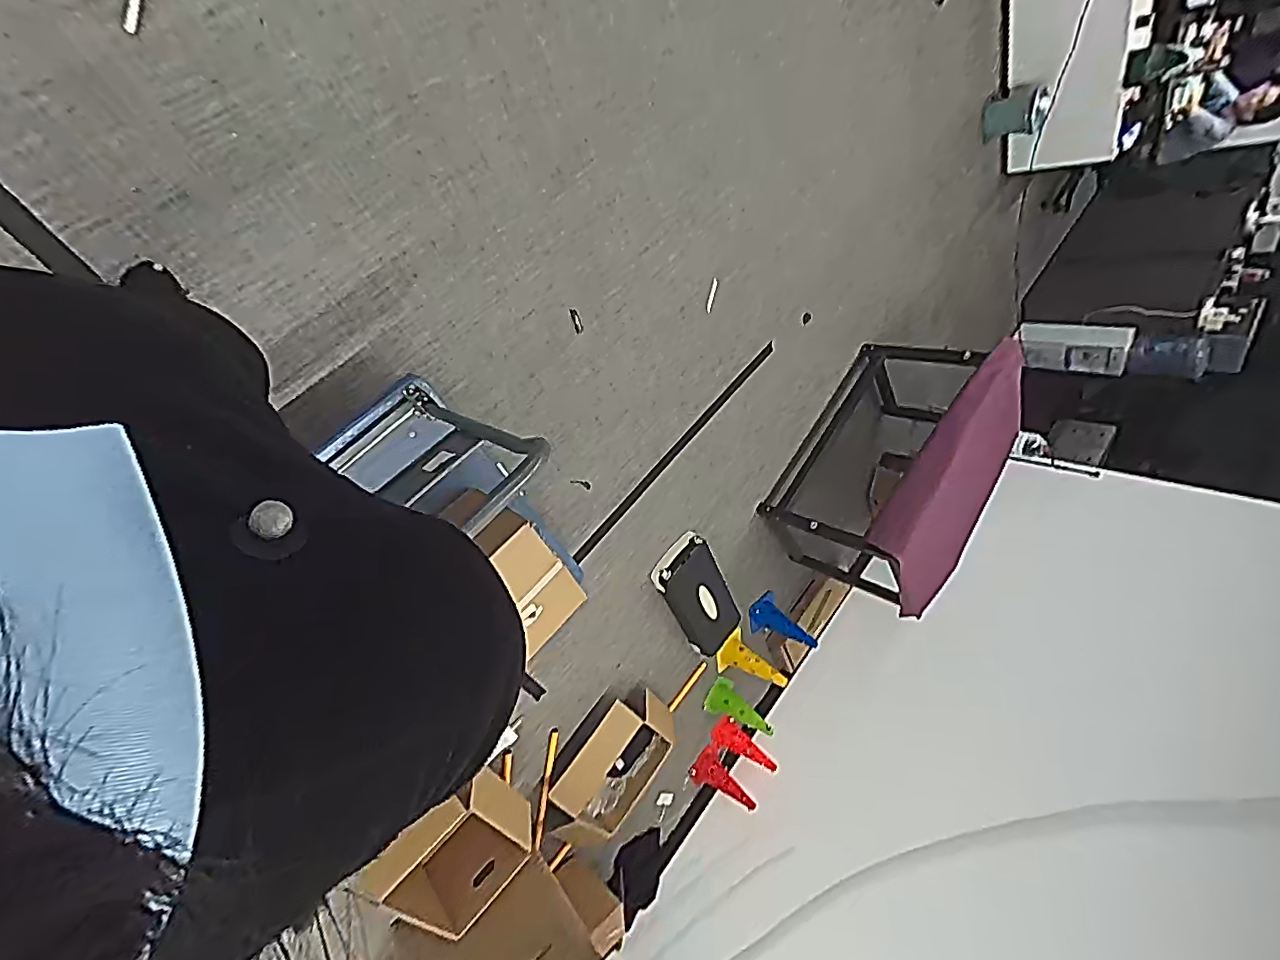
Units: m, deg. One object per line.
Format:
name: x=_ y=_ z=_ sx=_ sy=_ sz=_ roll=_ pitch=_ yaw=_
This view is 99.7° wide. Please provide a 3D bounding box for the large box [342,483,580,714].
large box: x=-0.437 y=0.278 z=1.349 sx=0.408 sy=0.320 sz=0.320 roll=-47 pitch=132 yaw=-22
